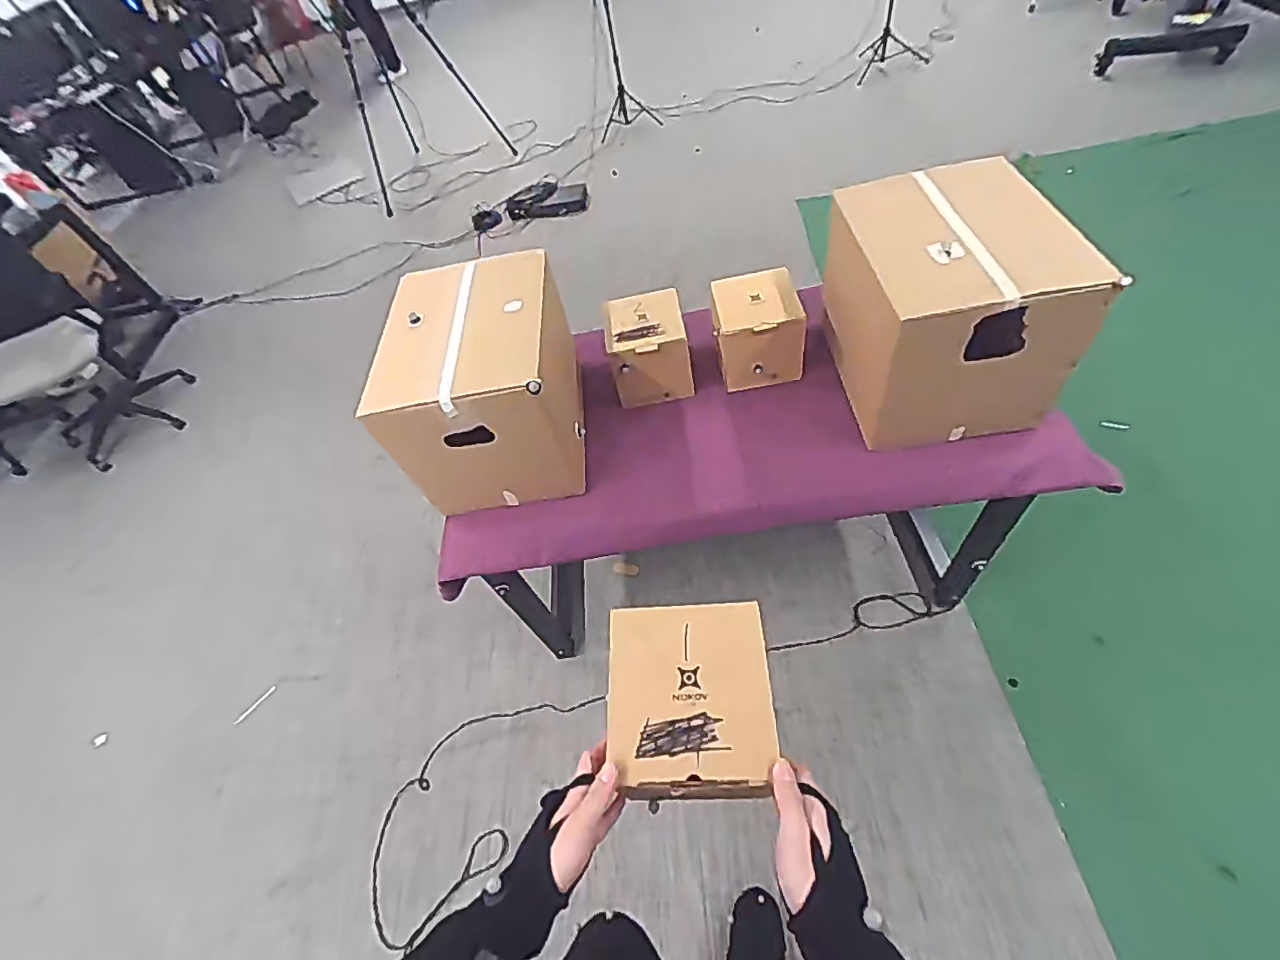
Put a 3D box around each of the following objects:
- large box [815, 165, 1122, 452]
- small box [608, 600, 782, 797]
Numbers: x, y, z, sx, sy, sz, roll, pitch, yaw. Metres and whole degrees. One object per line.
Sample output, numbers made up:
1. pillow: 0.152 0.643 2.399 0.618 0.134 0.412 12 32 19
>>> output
1. large box: 0.547 -0.317 1.017 0.320 0.320 0.408 -9 53 7
2. small box: 0.060 0.253 0.610 0.168 0.176 0.179 -4 54 4
